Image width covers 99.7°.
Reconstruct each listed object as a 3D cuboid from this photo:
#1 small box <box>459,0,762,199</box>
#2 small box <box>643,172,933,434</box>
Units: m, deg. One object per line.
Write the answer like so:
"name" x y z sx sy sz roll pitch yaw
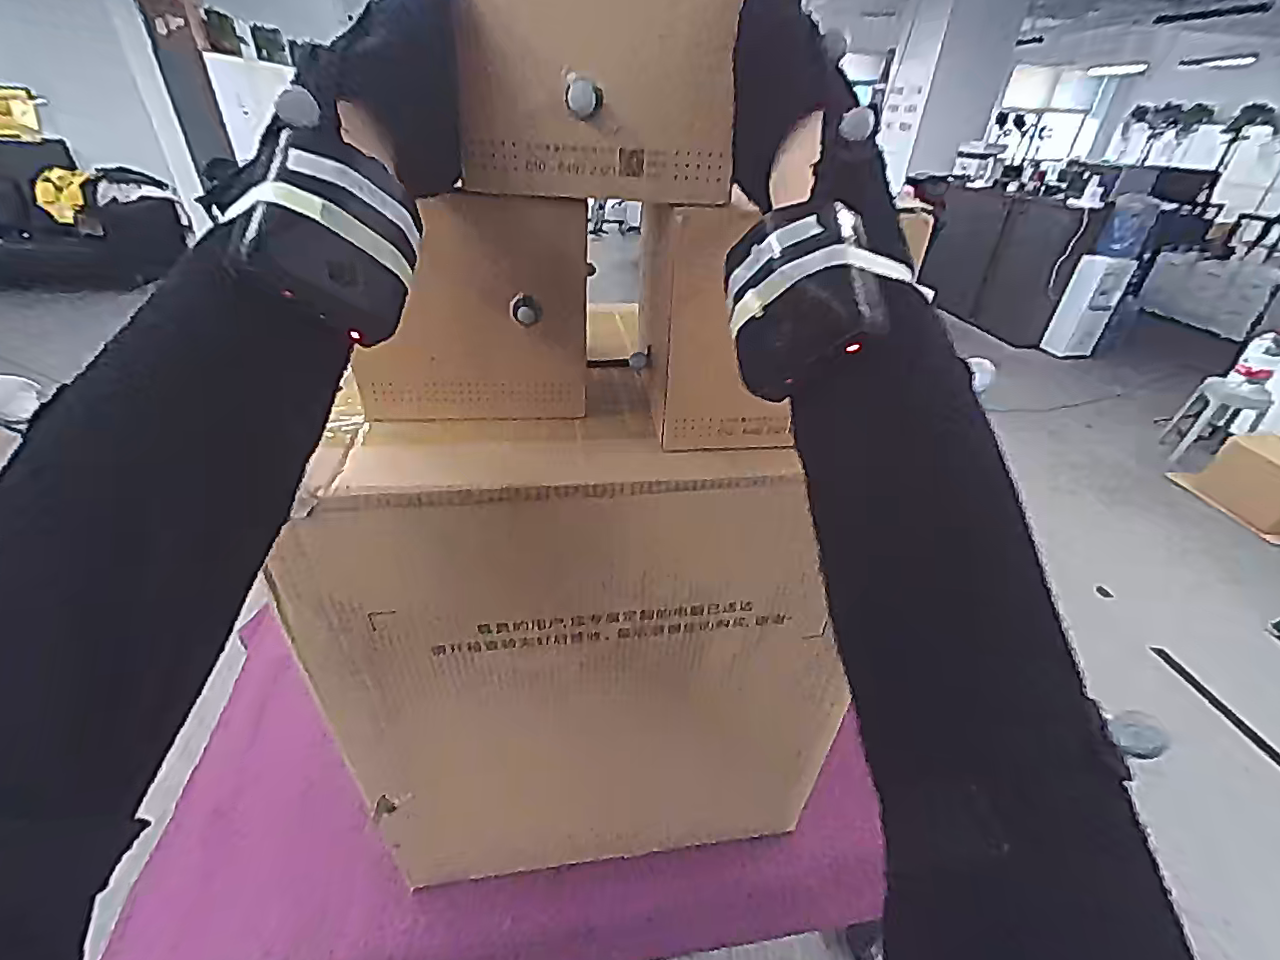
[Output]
"small box" -0.014 -0.290 0.349 0.168 0.176 0.179 4 36 2
"small box" 0.093 -0.146 0.441 0.168 0.176 0.179 -2 34 -6
